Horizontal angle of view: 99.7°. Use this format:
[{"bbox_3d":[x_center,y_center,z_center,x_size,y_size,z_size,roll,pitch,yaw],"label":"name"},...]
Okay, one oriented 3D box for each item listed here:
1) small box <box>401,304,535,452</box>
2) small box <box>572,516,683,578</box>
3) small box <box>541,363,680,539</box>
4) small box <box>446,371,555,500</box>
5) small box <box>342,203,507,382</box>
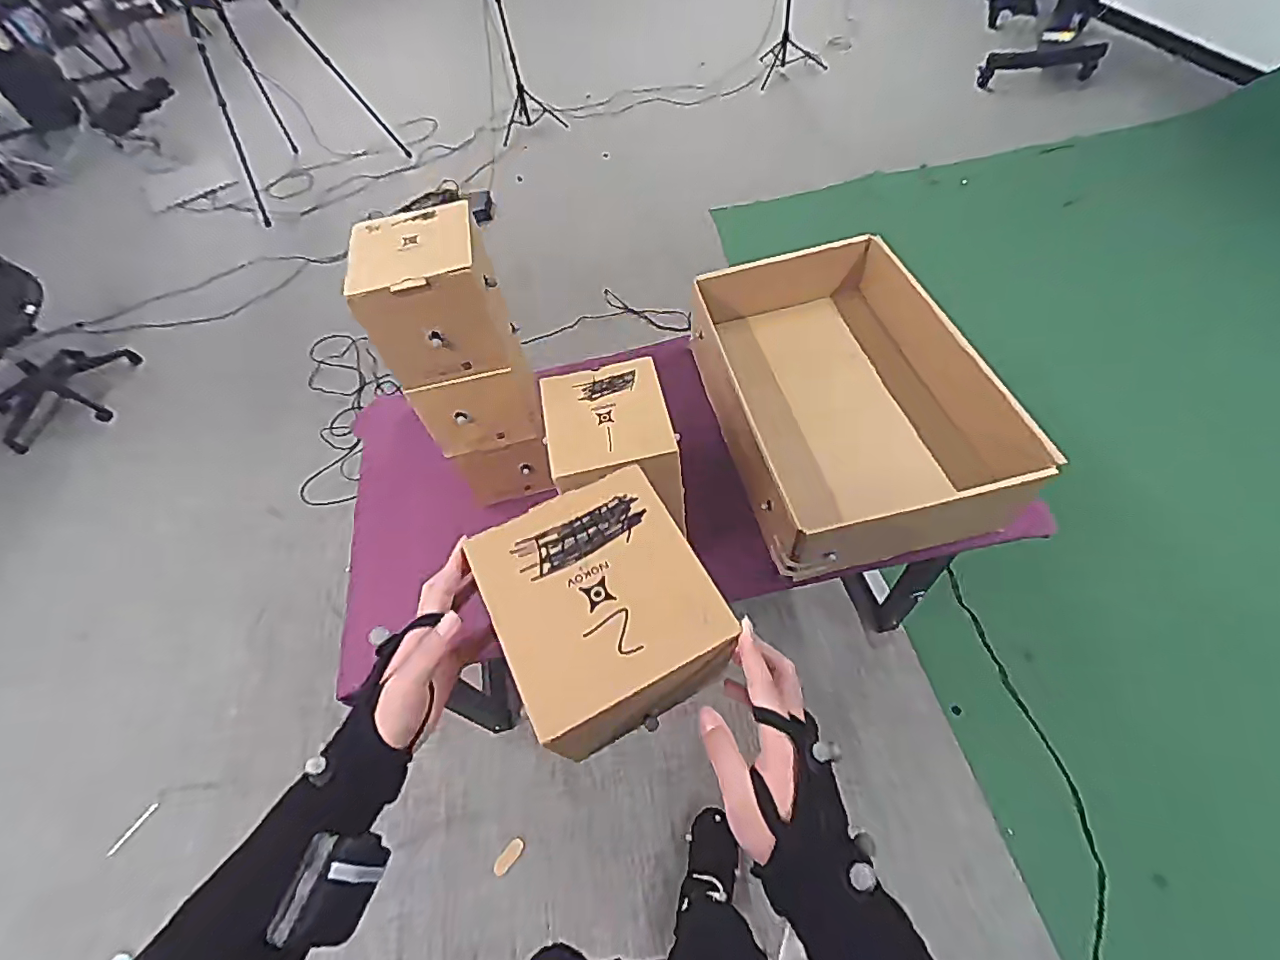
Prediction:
[{"bbox_3d":[-0.282,-0.165,0.914,0.168,0.176,0.179,-13,55,-2],"label":"small box"},{"bbox_3d":[-0.024,0.054,0.924,0.168,0.176,0.179,-12,55,-1],"label":"small box"},{"bbox_3d":[-0.040,-0.039,0.790,0.168,0.176,0.179,-13,55,-1],"label":"small box"},{"bbox_3d":[-0.265,-0.078,1.050,0.168,0.176,0.179,-13,55,-2],"label":"small box"},{"bbox_3d":[-0.299,-0.261,0.782,0.168,0.176,0.179,-13,56,-3],"label":"small box"}]
